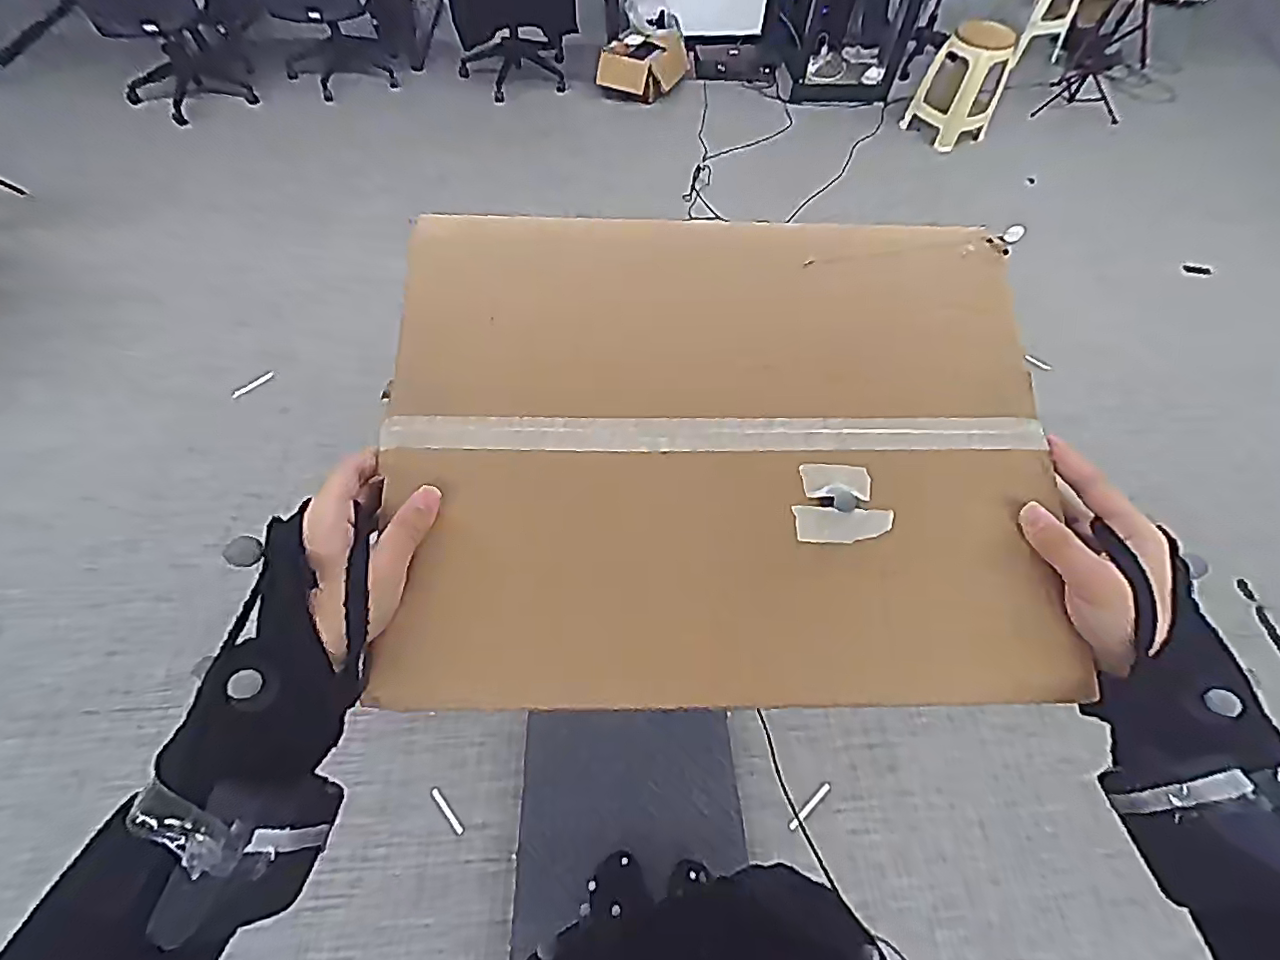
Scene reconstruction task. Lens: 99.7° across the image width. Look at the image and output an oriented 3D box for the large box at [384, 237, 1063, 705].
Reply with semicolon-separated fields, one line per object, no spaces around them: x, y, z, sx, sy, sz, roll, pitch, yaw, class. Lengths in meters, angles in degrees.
0.043;0.014;0.491;0.408;0.320;0.320;0;75;-2;large box
